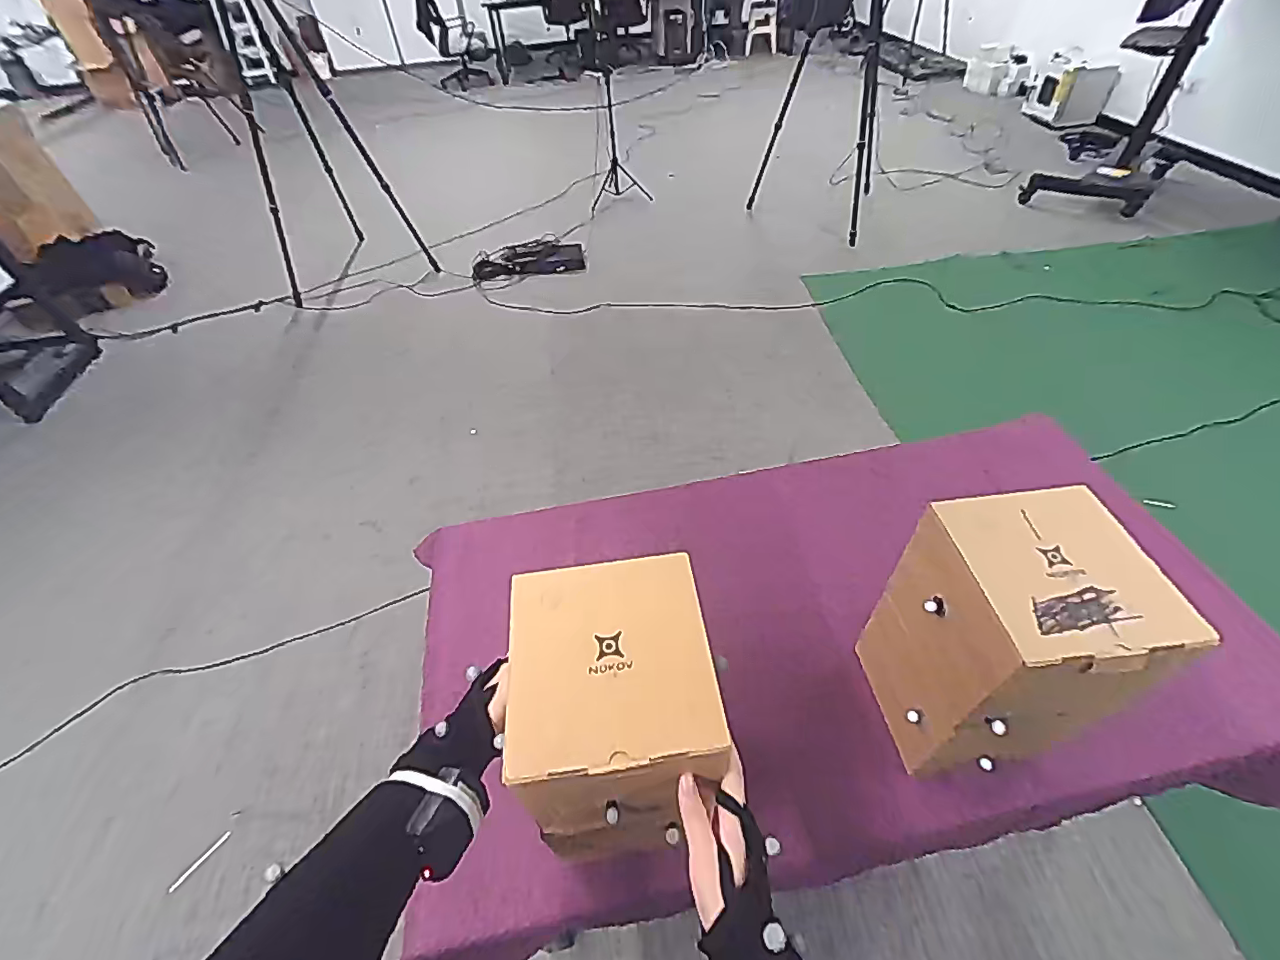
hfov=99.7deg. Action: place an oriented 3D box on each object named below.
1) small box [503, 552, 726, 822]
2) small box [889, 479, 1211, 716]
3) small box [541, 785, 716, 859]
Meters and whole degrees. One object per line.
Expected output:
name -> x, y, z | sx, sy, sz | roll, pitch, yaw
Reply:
small box -> -0.024, 0.193, 0.505 | 0.168, 0.176, 0.179 | -8, 48, -3
small box -> 0.384, 0.126, 0.553 | 0.168, 0.176, 0.179 | -7, 47, 0
small box -> -0.015, 0.325, 0.637 | 0.179, 0.176, 0.168 | -9, 47, -2
